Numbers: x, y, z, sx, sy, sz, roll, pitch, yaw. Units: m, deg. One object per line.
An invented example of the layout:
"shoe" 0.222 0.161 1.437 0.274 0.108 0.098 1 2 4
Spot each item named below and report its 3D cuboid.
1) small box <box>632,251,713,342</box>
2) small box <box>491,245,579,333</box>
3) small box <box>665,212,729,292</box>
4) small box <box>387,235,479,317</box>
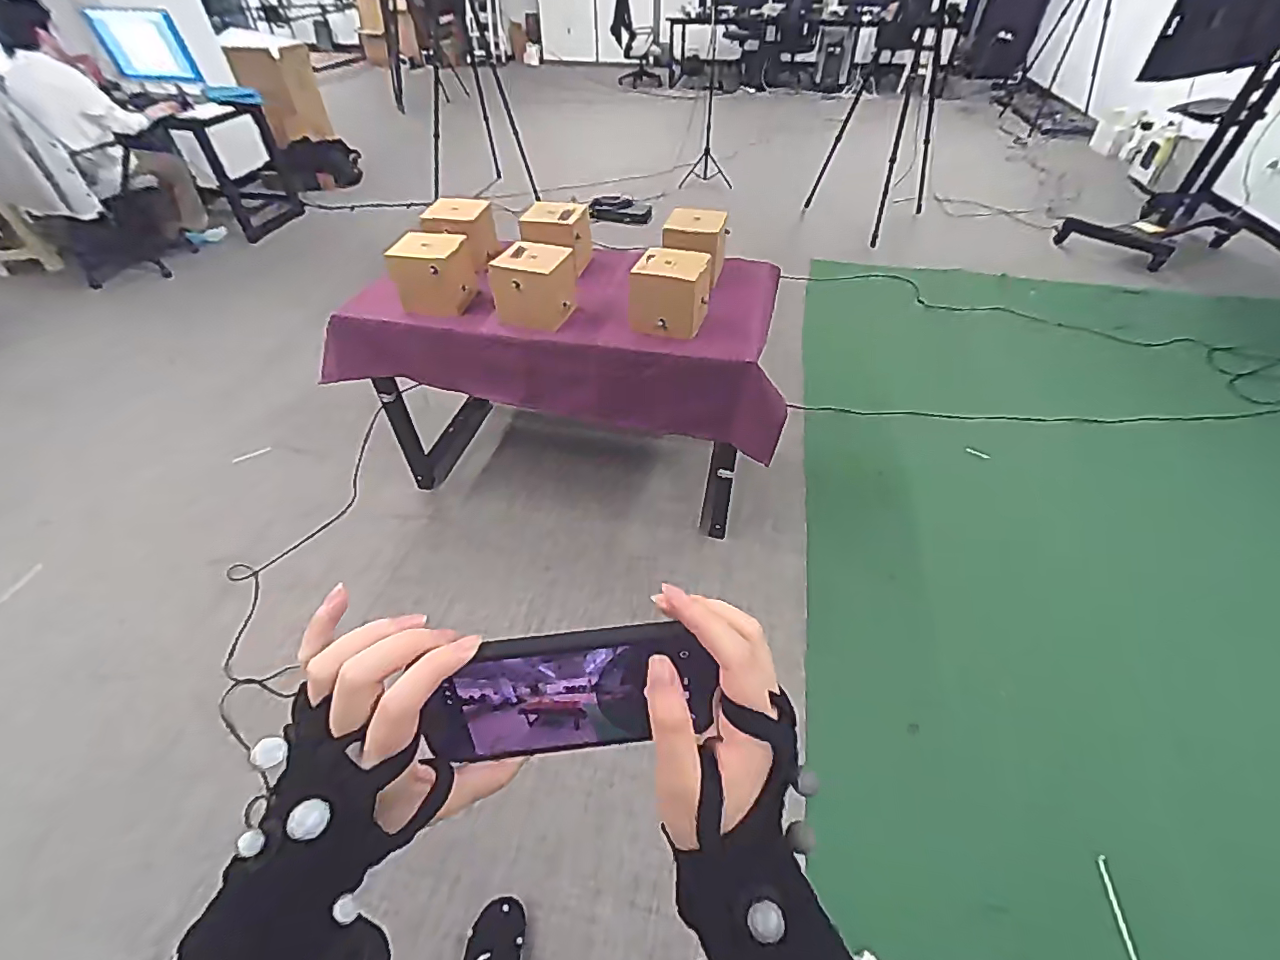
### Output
"small box" 0.086 -0.491 1.456 0.179 0.176 0.168 14 46 14
"small box" -0.281 -0.525 1.491 0.179 0.176 0.168 14 47 13
"small box" 0.172 -0.705 1.669 0.168 0.176 0.179 11 47 12
"small box" -0.584 -0.583 1.551 0.179 0.176 0.168 6 45 4
